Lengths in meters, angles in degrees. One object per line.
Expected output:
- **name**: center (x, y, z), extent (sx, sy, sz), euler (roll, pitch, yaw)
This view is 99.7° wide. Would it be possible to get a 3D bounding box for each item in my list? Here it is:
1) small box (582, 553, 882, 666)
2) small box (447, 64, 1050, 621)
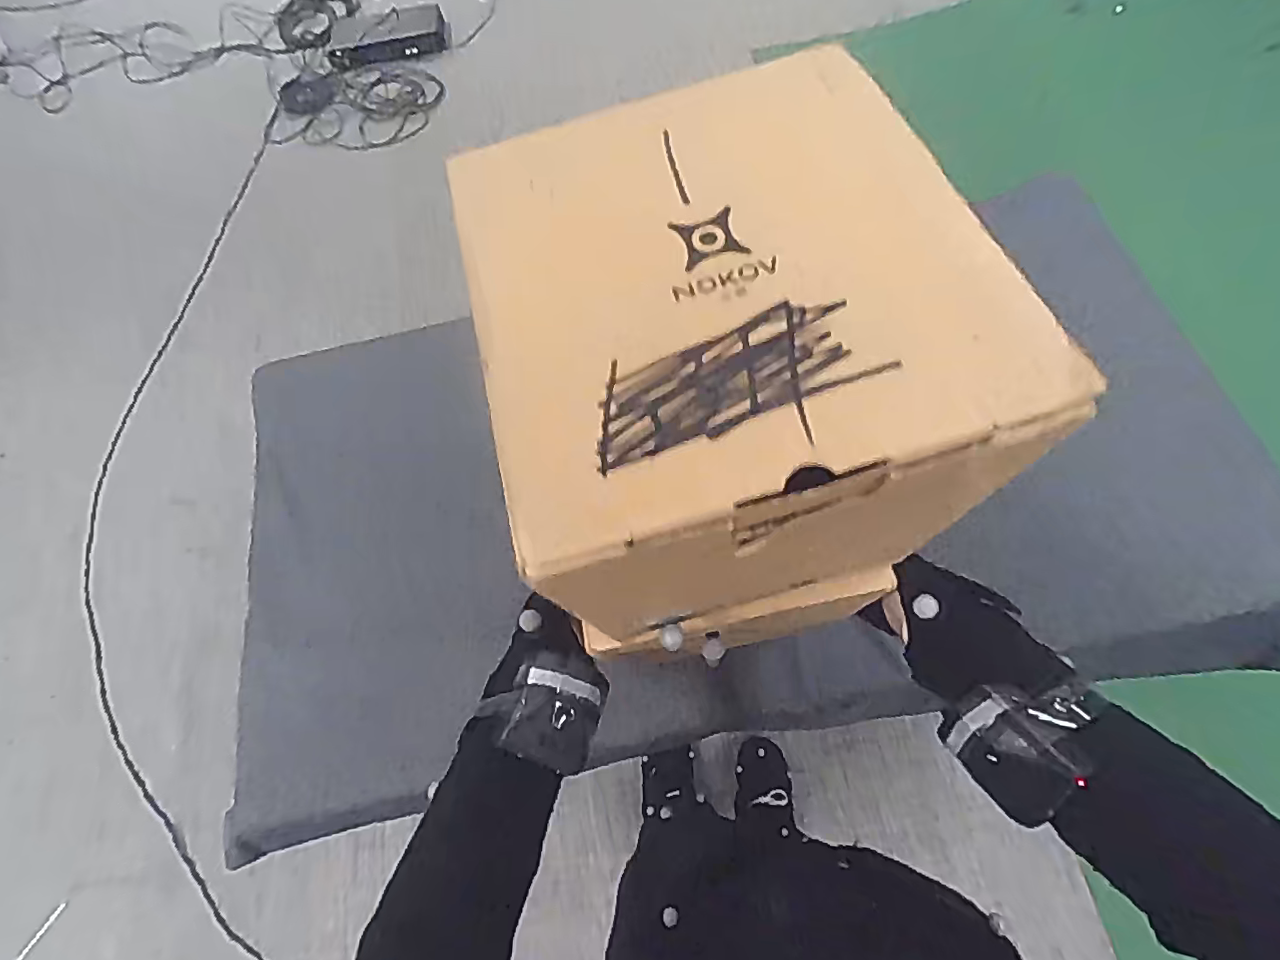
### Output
- **small box**: center (0.047, 0.033, 0.410), extent (0.179, 0.176, 0.168), euler (-15, 65, 0)
- **small box**: center (0.030, -0.040, 0.261), extent (0.168, 0.176, 0.179), euler (-17, 65, 0)
